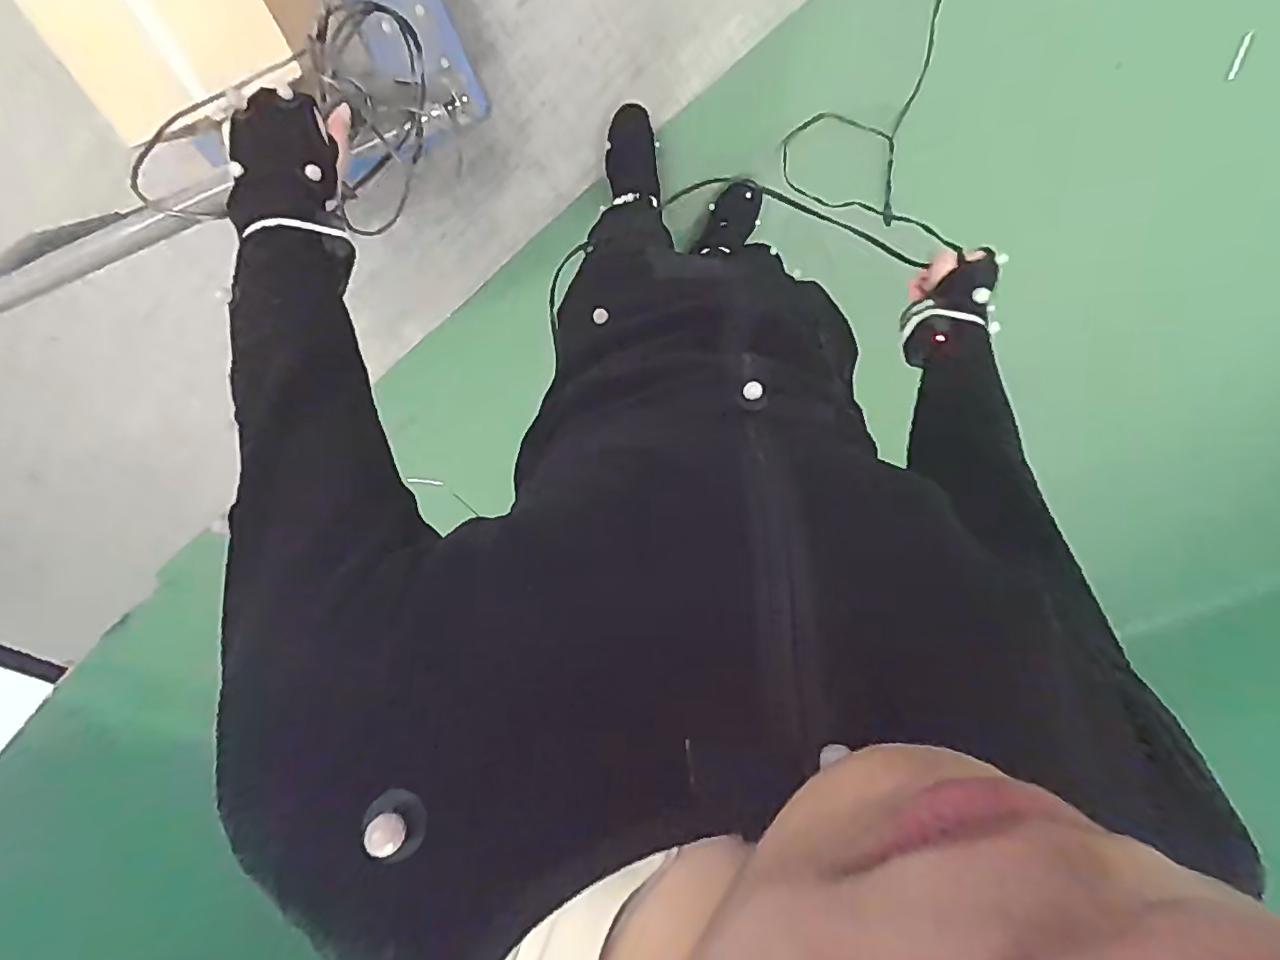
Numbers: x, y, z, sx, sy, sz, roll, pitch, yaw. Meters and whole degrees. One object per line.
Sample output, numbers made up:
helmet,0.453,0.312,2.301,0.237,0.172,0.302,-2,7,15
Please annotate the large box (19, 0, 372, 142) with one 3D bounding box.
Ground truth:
large box,-0.681,-0.780,0.780,0.320,0.320,0.408,-15,128,8
